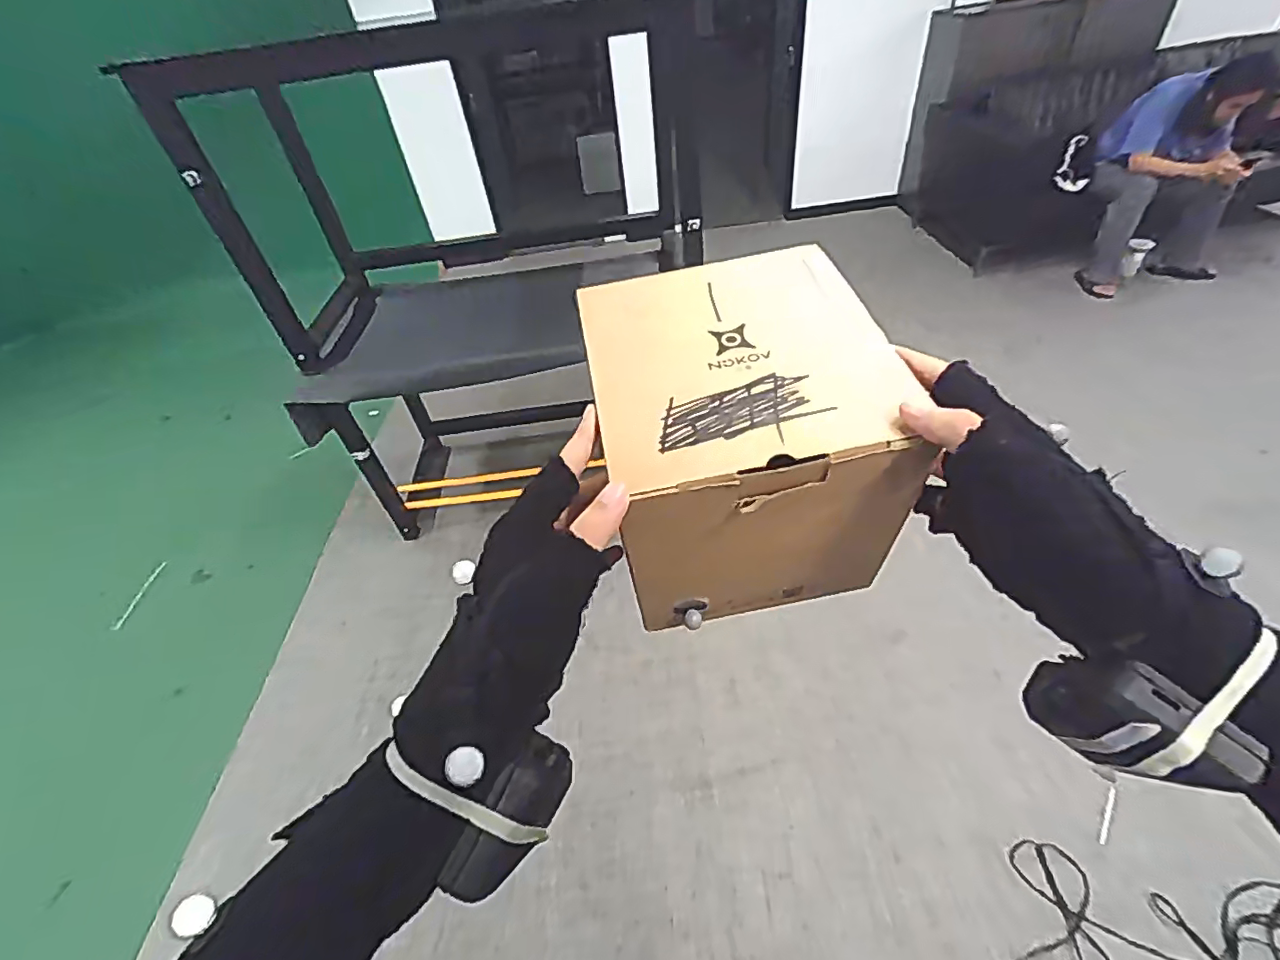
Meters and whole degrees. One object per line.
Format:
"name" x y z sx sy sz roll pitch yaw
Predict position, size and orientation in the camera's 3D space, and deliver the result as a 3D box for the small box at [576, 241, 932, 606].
"small box" 0.059 -0.029 0.371 0.168 0.176 0.179 -11 51 -2
